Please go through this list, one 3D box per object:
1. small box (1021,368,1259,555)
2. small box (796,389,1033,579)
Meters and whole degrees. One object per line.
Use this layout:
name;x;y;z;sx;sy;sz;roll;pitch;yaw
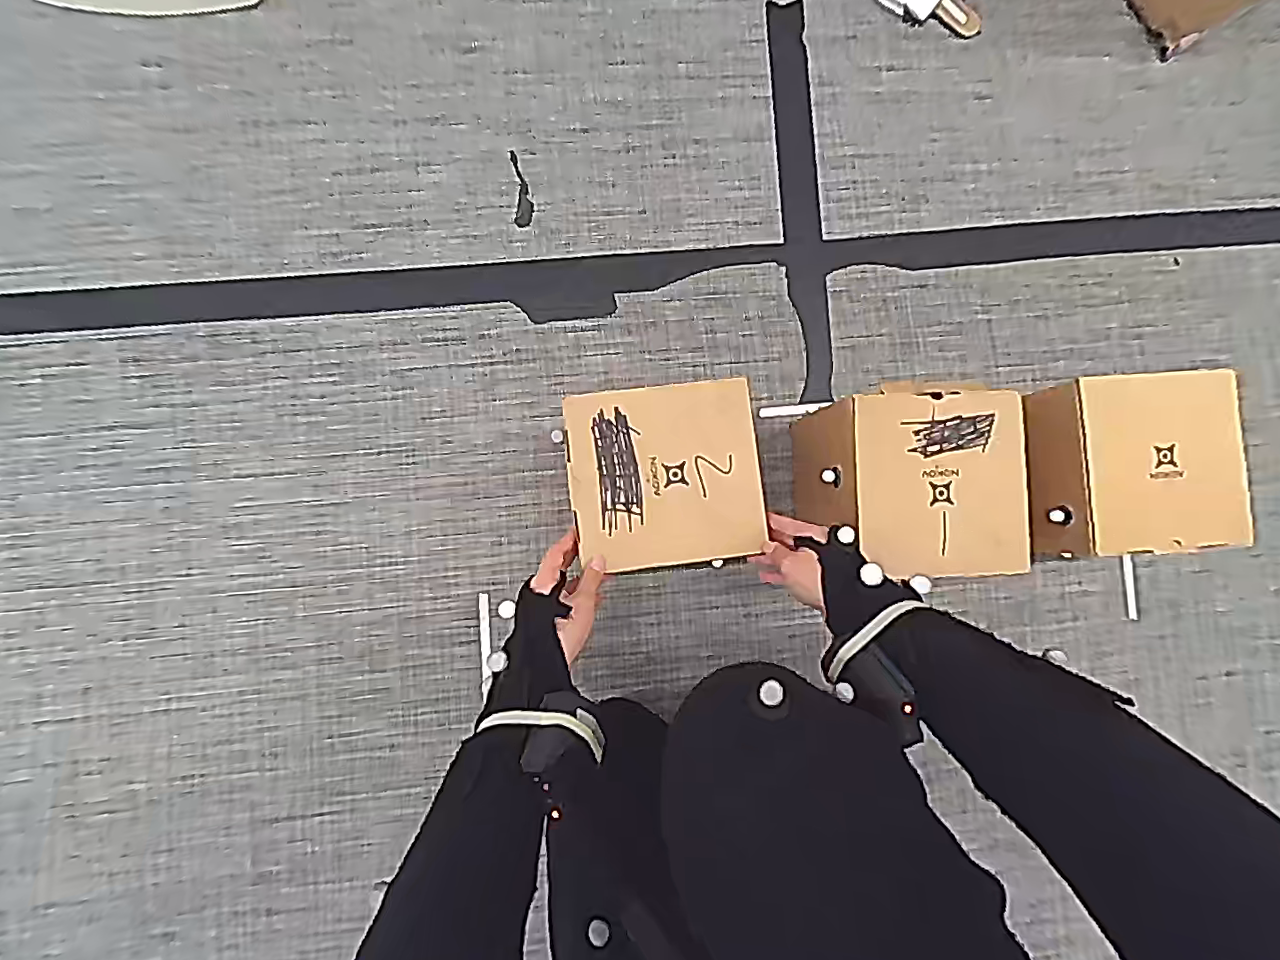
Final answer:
small box;0.500;-0.014;0.596;0.168;0.176;0.179;-4;87;-4
small box;0.275;0.007;0.578;0.168;0.176;0.179;-2;87;-4
